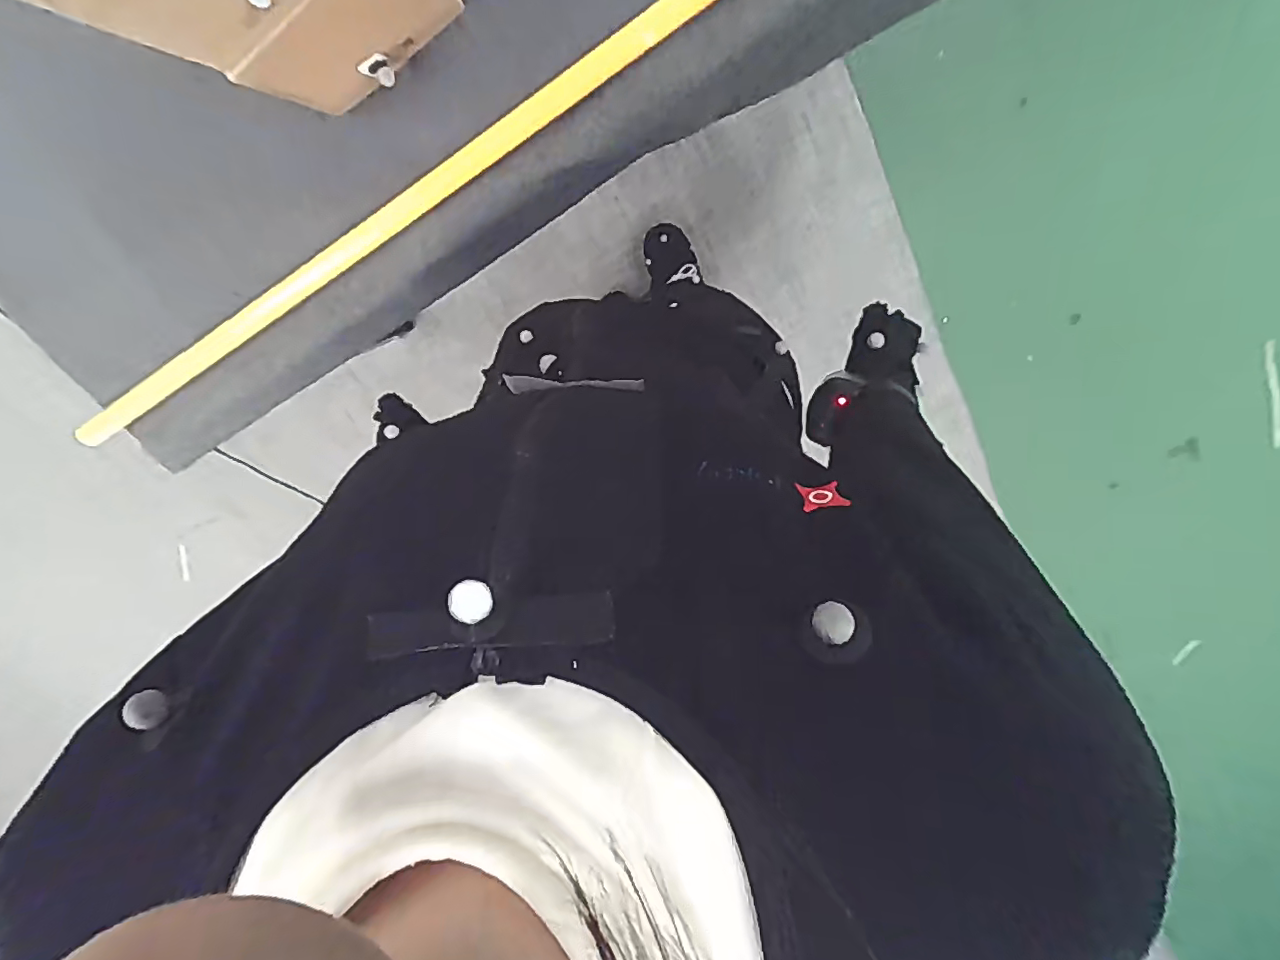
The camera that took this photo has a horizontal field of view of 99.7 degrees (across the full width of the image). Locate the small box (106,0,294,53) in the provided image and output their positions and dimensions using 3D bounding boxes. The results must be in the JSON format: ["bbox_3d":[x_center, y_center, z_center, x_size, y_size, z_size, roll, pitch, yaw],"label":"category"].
[{"bbox_3d":[-0.291,-0.383,0.285,0.168,0.176,0.179,-28,111,16],"label":"small box"}]

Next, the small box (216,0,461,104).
[{"bbox_3d":[-0.282,-0.450,0.435,0.168,0.176,0.179,-29,111,16],"label":"small box"}]
